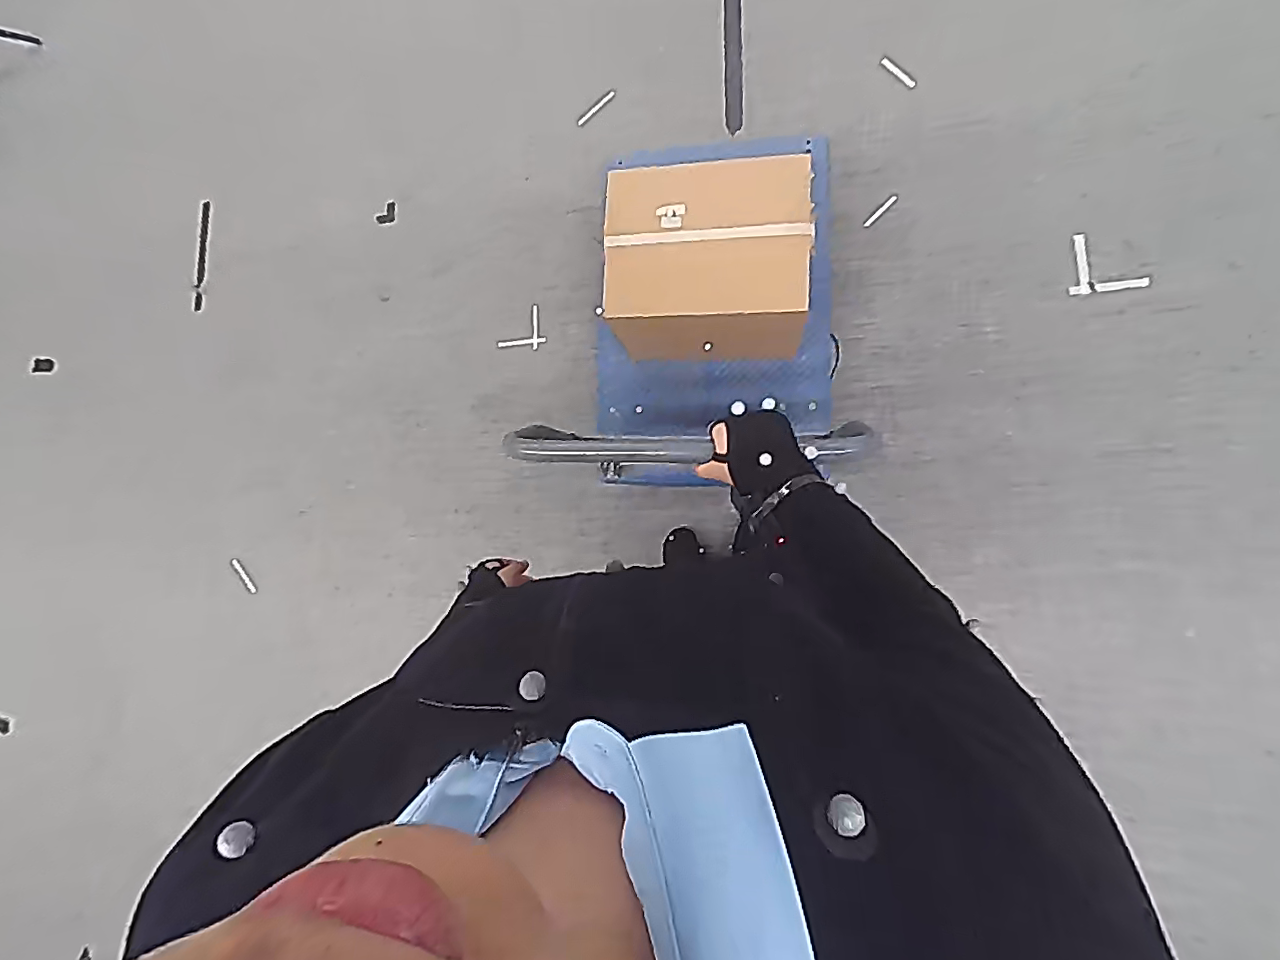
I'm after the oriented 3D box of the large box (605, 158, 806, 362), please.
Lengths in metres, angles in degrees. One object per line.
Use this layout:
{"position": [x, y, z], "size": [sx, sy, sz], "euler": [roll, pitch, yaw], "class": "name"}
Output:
{"position": [0.156, -0.466, 1.228], "size": [0.408, 0.320, 0.320], "euler": [1, 85, 12], "class": "large box"}
